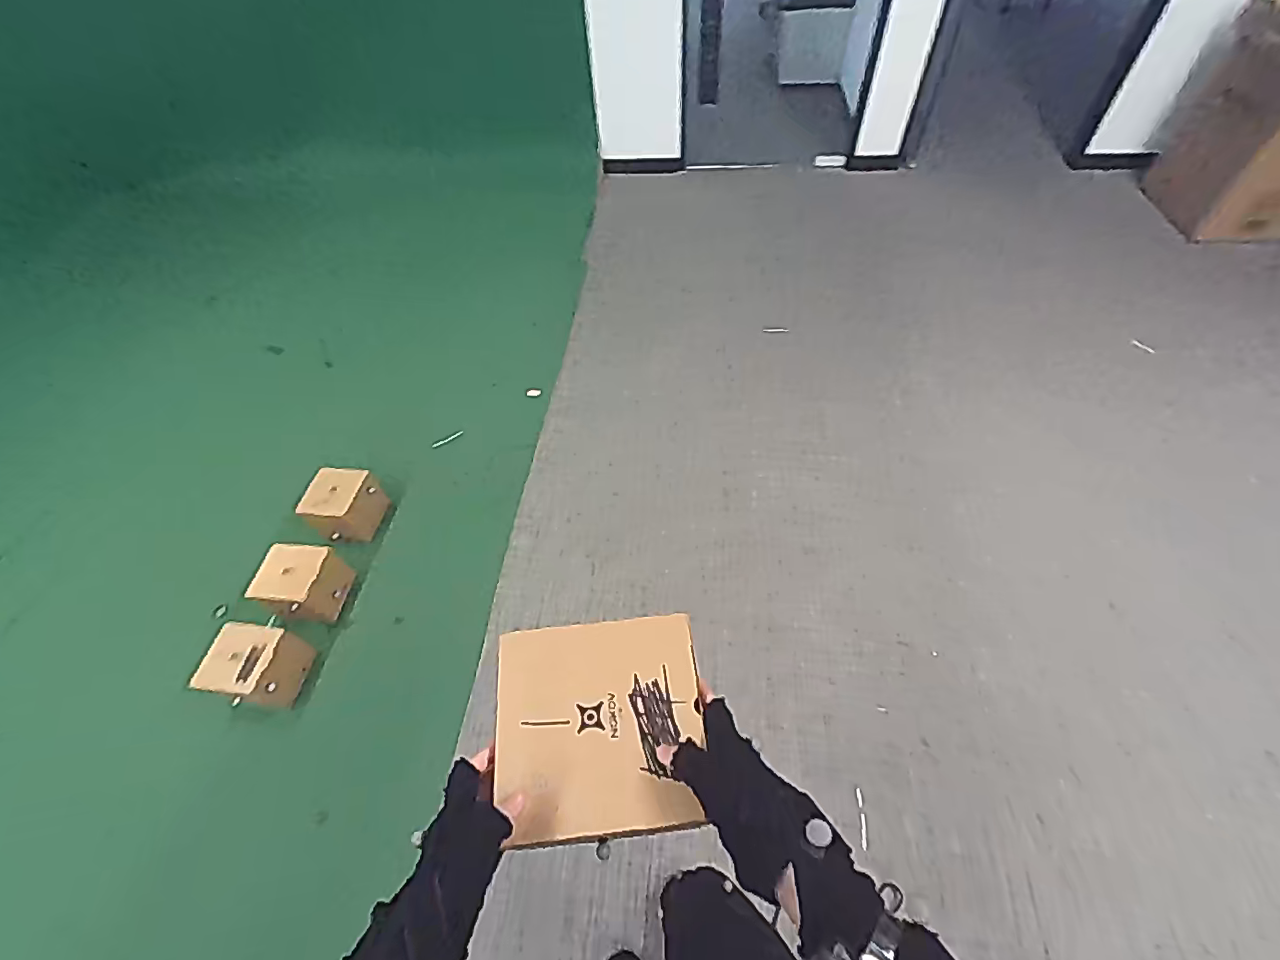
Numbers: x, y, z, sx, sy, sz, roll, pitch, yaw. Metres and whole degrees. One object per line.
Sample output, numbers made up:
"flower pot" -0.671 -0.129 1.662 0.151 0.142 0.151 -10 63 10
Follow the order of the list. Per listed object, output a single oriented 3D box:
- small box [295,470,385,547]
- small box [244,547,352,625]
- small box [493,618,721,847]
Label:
"small box" -0.951 0.091 1.738 0.168 0.176 0.179 5 53 7
"small box" -0.986 0.310 1.576 0.179 0.176 0.168 3 53 4
"small box" -0.031 0.245 0.518 0.179 0.176 0.168 -4 55 -3
